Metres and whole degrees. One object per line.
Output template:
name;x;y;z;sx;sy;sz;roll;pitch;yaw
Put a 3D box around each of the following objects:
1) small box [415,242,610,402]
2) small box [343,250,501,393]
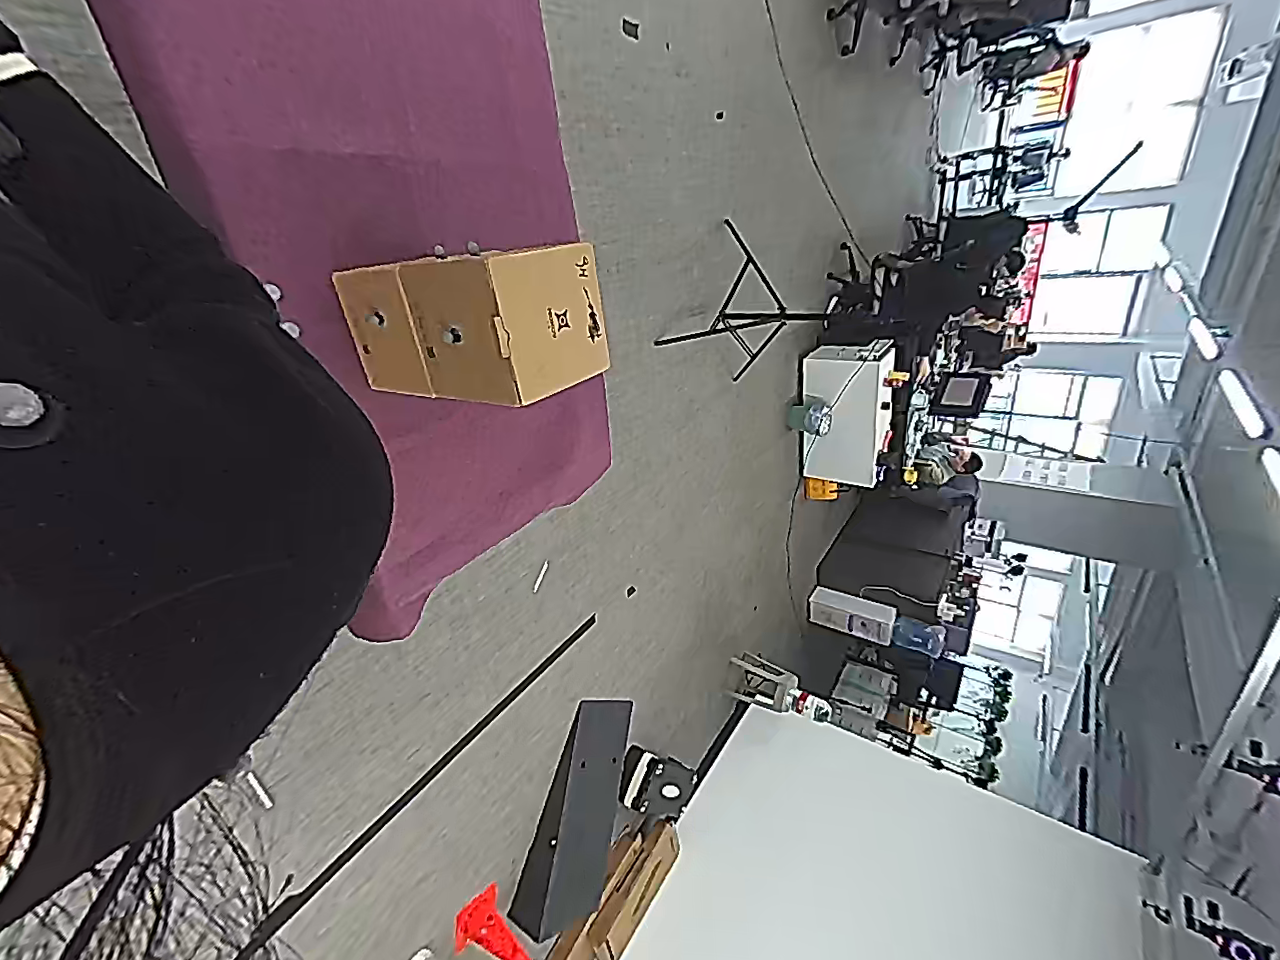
small box;-0.166;-0.208;0.704;0.179;0.176;0.168;-35;127;-45
small box;-0.302;-0.234;0.793;0.179;0.176;0.168;-37;128;-45
